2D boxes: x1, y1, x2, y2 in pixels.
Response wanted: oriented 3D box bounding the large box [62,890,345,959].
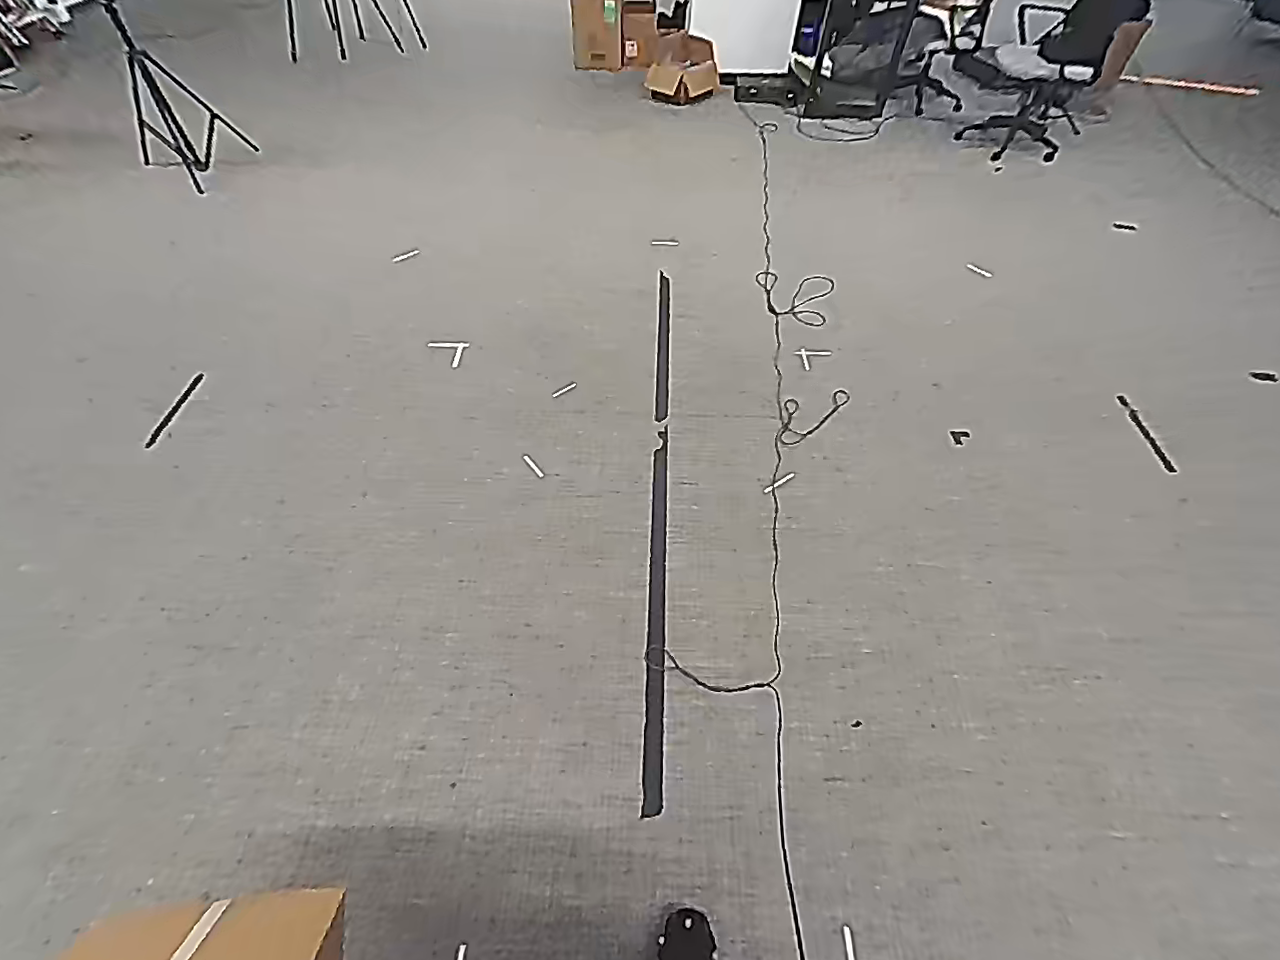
[{"bbox_3d":[-0.554,0.752,0.583,0.320,0.408,0.320,2,90,-11],"label":"large box"}]
